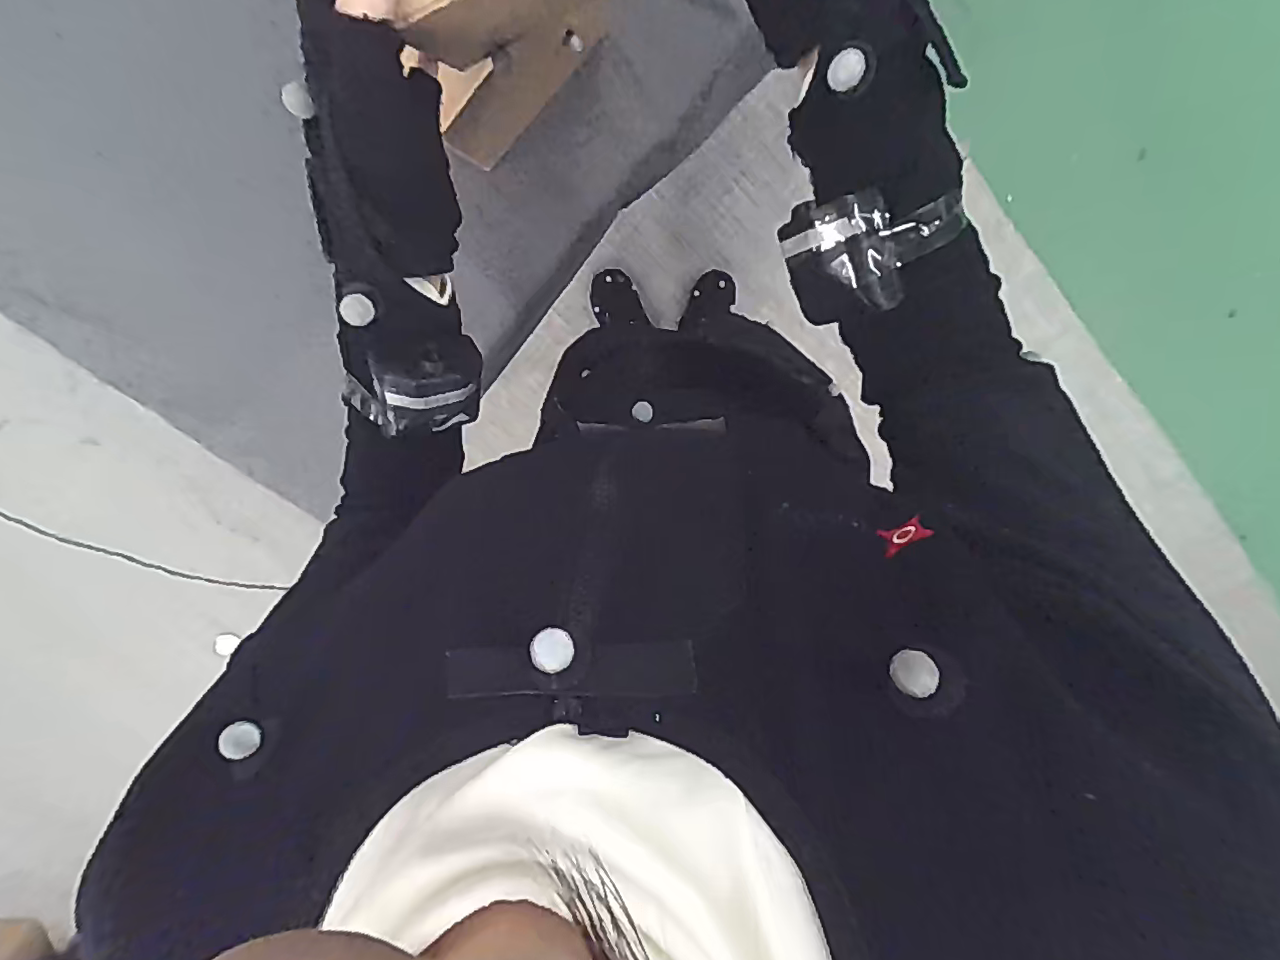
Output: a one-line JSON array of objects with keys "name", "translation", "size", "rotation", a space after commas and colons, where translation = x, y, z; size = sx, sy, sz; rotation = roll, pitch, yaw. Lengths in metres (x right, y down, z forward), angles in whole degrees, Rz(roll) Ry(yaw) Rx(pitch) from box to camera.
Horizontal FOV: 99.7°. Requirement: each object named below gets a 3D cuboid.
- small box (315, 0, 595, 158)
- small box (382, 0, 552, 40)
[{"name": "small box", "translation": [-0.150, -0.408, 0.445], "size": [0.179, 0.176, 0.168], "rotation": [-42, 106, 15]}, {"name": "small box", "translation": [-0.071, -0.332, 0.238], "size": [0.168, 0.176, 0.179], "rotation": [-23, 124, 9]}]
